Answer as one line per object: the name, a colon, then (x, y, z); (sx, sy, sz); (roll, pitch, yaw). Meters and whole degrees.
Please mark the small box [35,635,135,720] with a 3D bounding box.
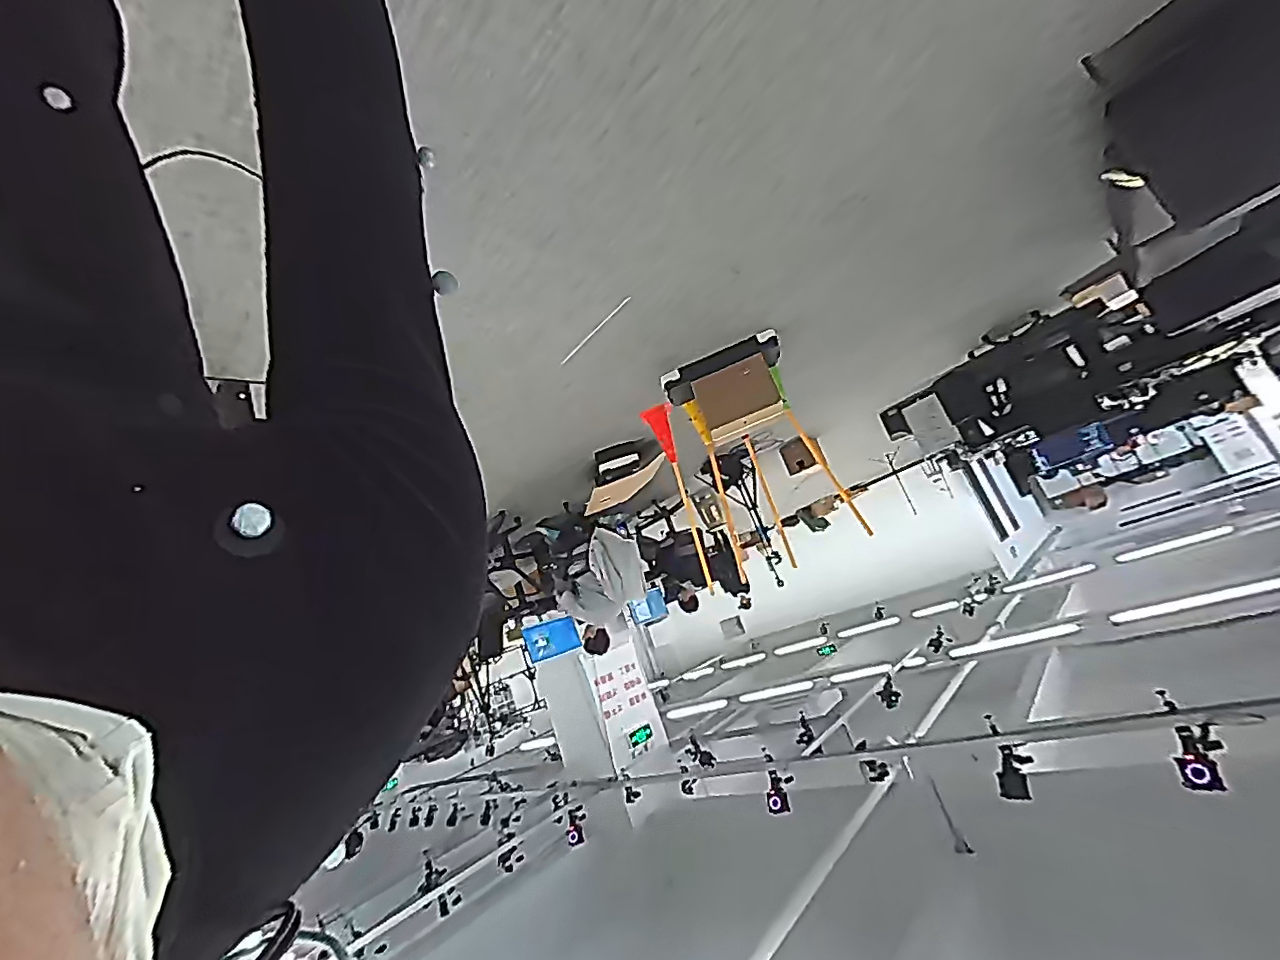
small box: (-1.593, 0.561, 1.550); (0.168, 0.176, 0.179); (-29, 163, 31)
